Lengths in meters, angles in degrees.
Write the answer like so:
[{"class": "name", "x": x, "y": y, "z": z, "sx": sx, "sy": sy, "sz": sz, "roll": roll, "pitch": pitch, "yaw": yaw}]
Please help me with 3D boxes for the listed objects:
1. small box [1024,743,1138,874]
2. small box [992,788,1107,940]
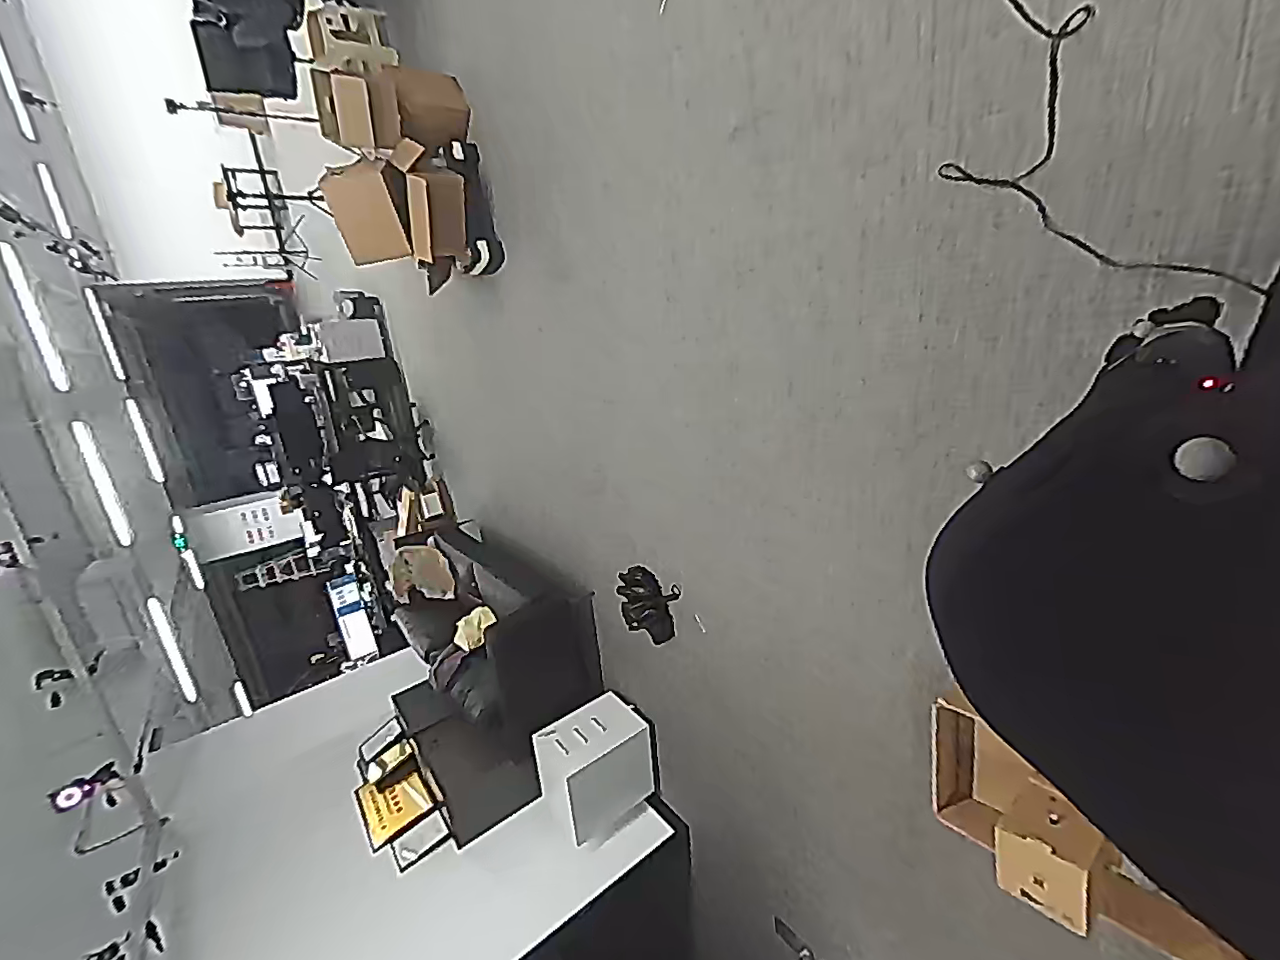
[{"class": "small box", "x": 1.040, "y": 0.764, "z": 1.283, "sx": 0.179, "sy": 0.176, "sz": 0.168, "roll": 12, "pitch": 116, "yaw": 50}, {"class": "small box", "x": 0.900, "y": 0.828, "z": 1.190, "sx": 0.168, "sy": 0.176, "sz": 0.179, "roll": 8, "pitch": 111, "yaw": 53}]
